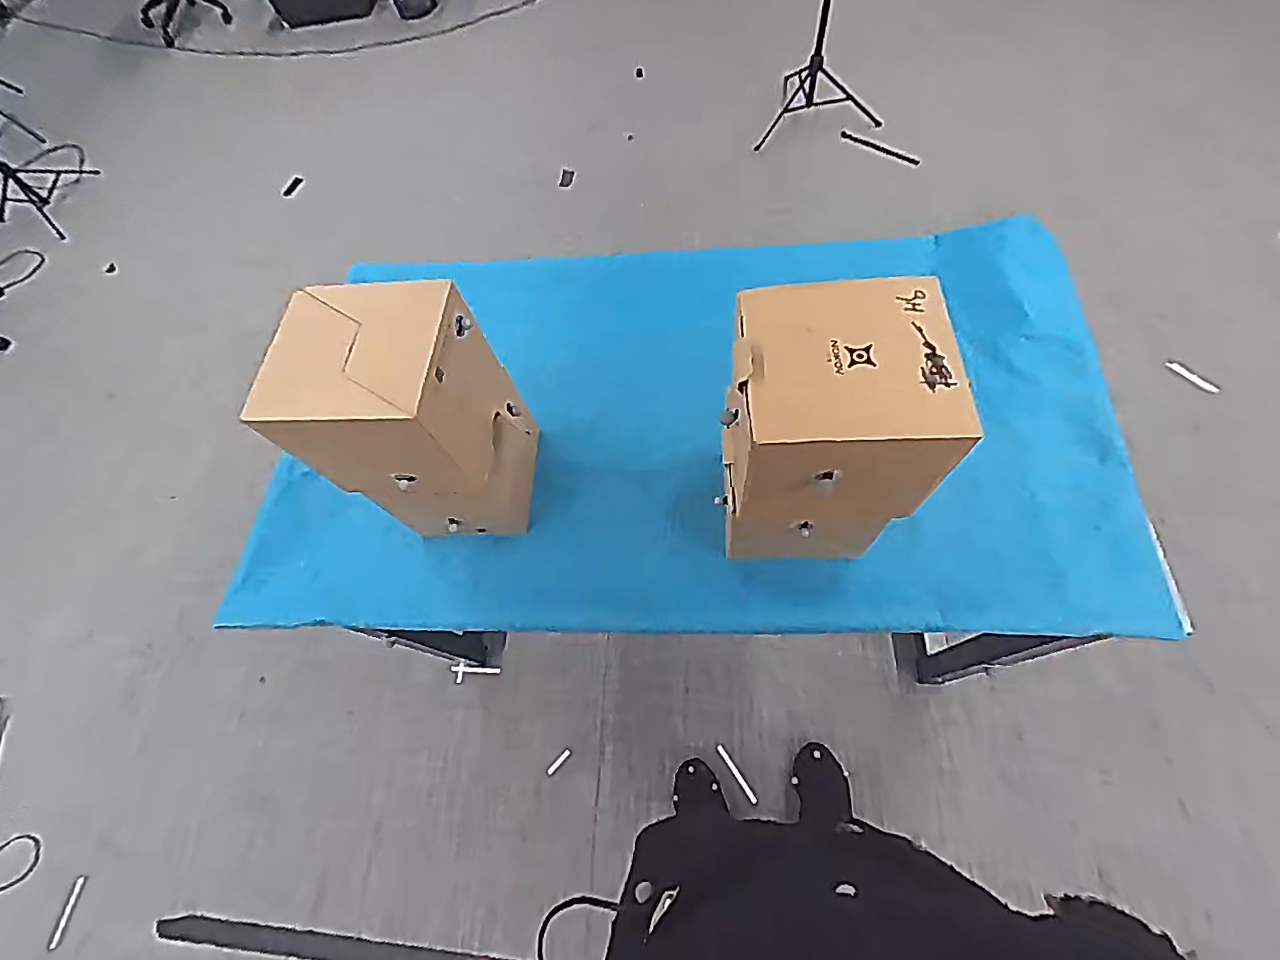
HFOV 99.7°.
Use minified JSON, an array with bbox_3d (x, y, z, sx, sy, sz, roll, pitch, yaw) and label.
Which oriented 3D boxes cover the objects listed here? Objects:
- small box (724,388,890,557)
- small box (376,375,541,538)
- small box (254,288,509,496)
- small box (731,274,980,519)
[{"bbox_3d":[0.196,-0.005,0.672,0.179,0.176,0.168,-1,65,8],"label":"small box"},{"bbox_3d":[-0.246,-0.030,0.751,0.168,0.176,0.179,1,67,10],"label":"small box"},{"bbox_3d":[-0.266,-0.090,0.595,0.179,0.176,0.168,0,65,8],"label":"small box"},{"bbox_3d":[0.182,-0.068,0.523,0.179,0.176,0.168,-4,64,6],"label":"small box"}]
